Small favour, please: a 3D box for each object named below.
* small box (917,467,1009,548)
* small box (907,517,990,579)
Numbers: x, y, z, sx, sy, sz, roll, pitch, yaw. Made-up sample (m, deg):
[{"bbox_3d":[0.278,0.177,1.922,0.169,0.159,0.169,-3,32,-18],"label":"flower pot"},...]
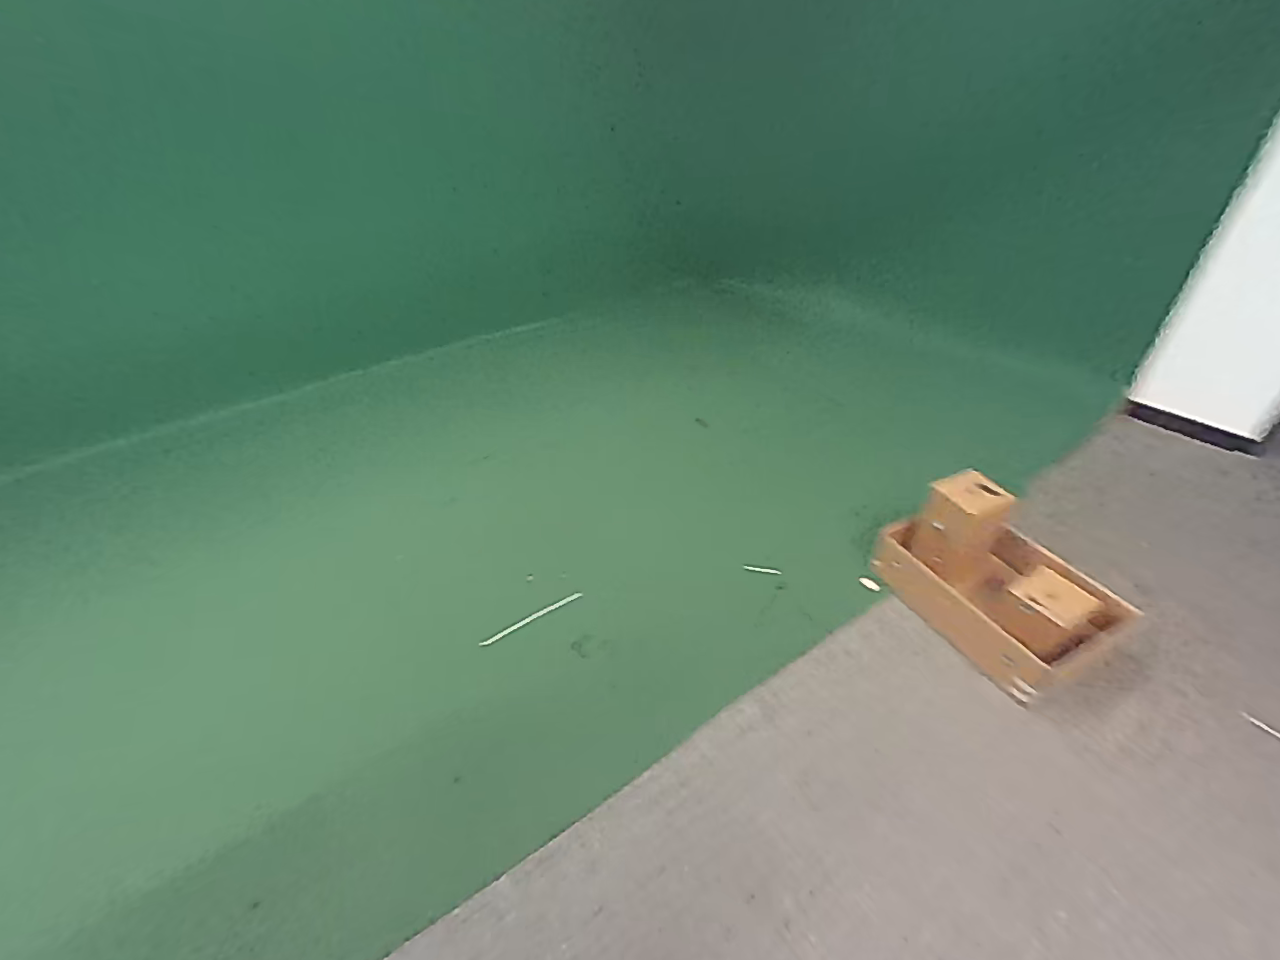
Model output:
[{"bbox_3d":[1.042,0.091,1.760,0.179,0.176,0.168,-18,42,-14],"label":"small box"},{"bbox_3d":[1.052,0.214,1.867,0.179,0.176,0.168,-18,42,-16],"label":"small box"}]
